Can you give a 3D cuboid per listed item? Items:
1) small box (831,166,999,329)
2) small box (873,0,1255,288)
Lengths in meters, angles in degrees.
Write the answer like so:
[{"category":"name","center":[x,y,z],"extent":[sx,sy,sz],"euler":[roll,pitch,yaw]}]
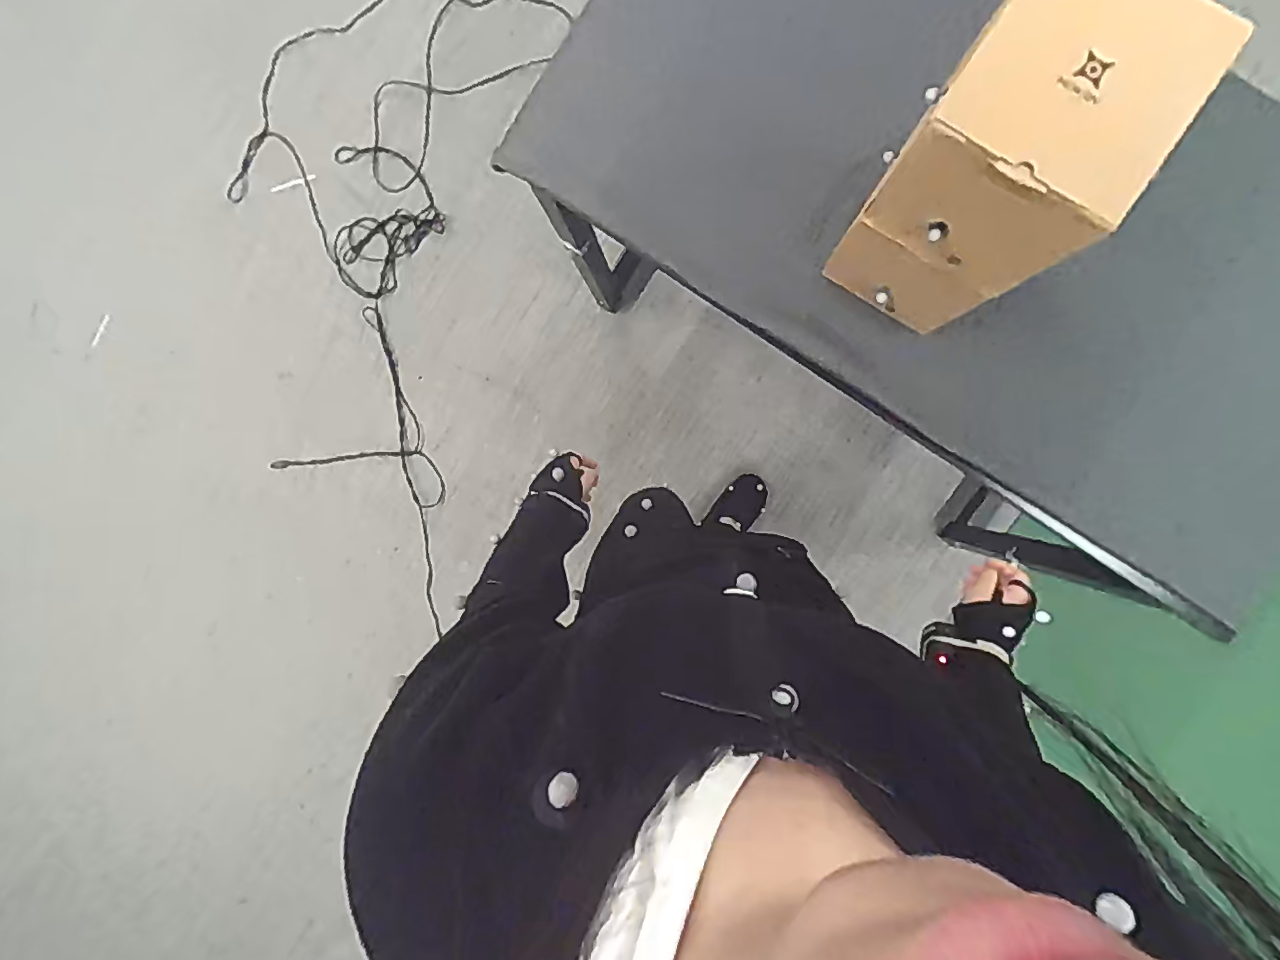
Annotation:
[{"category":"small box","center":[0.356,-0.312,0.644],"extent":[0.168,0.176,0.179],"euler":[33,93,4]},{"category":"small box","center":[0.343,-0.308,0.482],"extent":[0.168,0.176,0.179],"euler":[33,94,3]}]
